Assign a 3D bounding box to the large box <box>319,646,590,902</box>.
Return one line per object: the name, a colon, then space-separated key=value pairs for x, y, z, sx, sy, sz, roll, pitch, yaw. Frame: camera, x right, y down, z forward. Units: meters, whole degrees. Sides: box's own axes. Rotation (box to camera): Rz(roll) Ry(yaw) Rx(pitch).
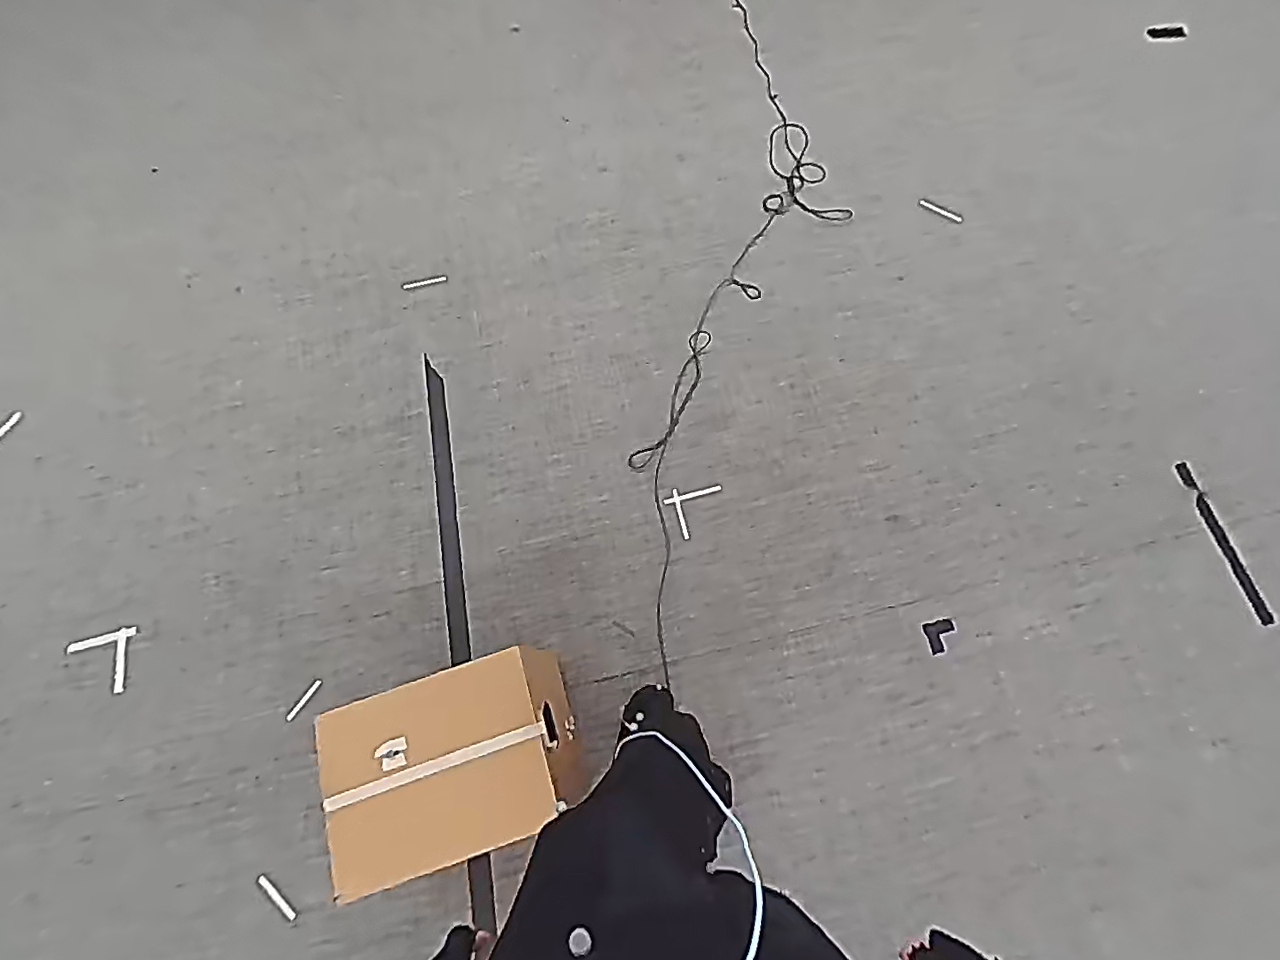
large box: x=-0.356 y=0.563 z=1.111 sx=0.408 sy=0.320 sz=0.320 roll=-19 pitch=69 yaw=-2
